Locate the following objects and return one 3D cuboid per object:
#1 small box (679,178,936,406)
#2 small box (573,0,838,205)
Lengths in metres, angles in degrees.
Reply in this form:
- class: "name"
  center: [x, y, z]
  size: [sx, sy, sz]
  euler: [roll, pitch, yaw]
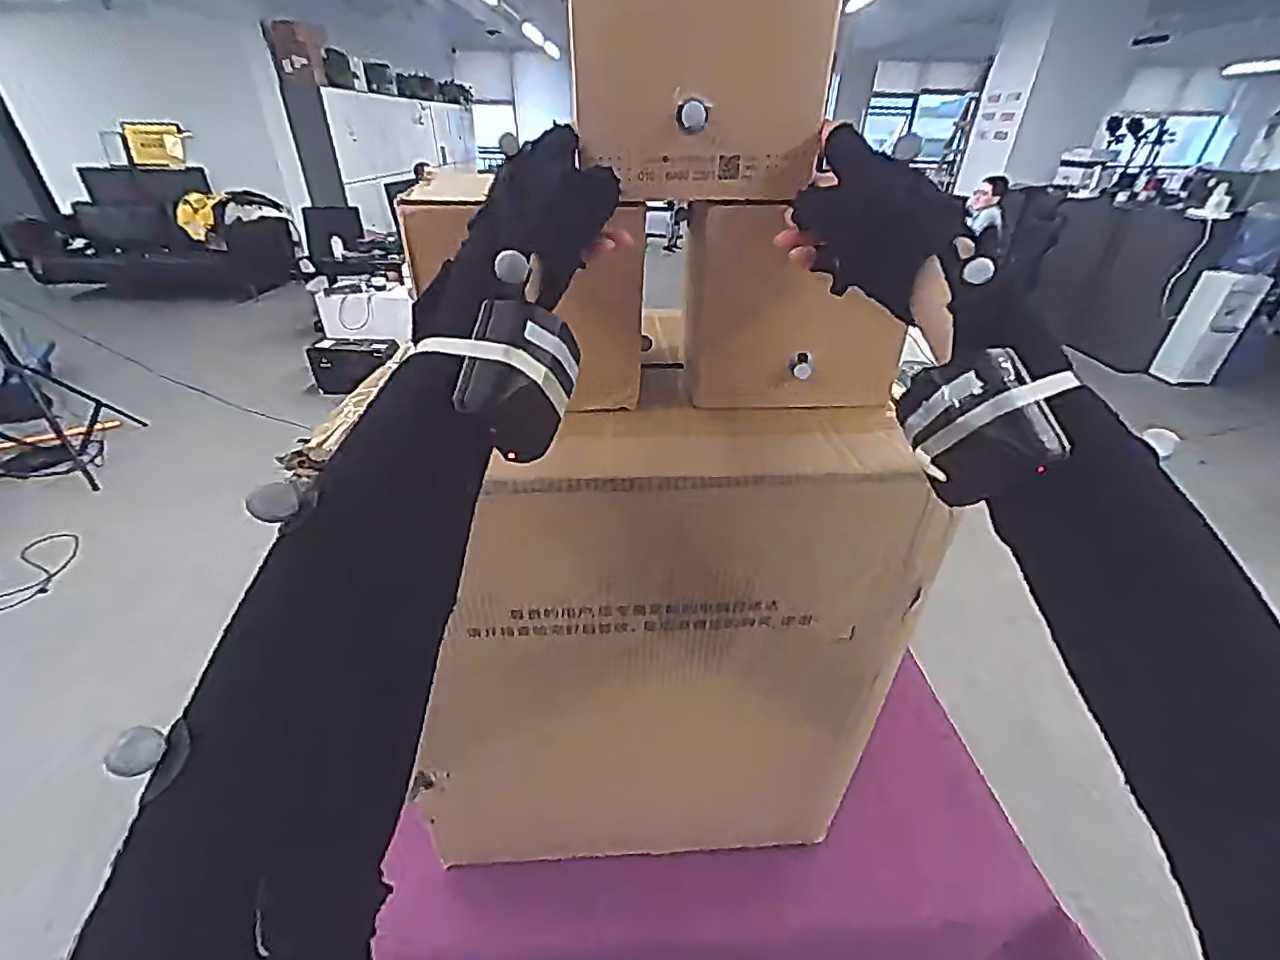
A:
- class: "small box"
  center: [0.133, -0.178, 0.508]
  size: [0.179, 0.176, 0.168]
  euler: [-2, 33, -1]
- class: "small box"
  center: [0.036, -0.314, 0.412]
  size: [0.168, 0.176, 0.179]
  euler: [-2, 35, -2]
